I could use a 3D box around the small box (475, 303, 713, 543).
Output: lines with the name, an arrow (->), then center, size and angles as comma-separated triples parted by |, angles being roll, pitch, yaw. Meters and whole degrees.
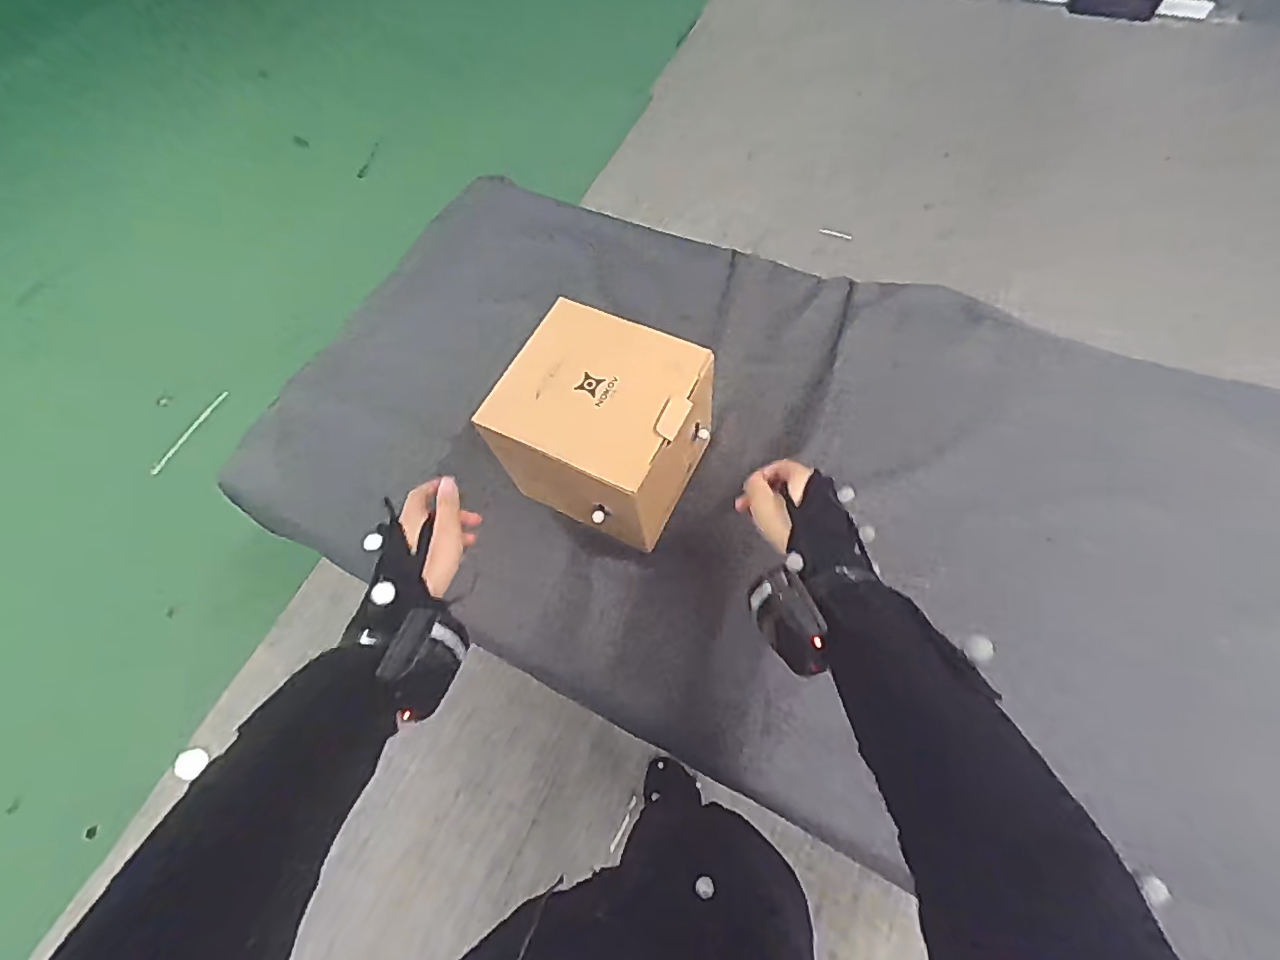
small box -> -0.035, -0.051, 0.580 | 0.179, 0.176, 0.168 | 22, 67, 16
